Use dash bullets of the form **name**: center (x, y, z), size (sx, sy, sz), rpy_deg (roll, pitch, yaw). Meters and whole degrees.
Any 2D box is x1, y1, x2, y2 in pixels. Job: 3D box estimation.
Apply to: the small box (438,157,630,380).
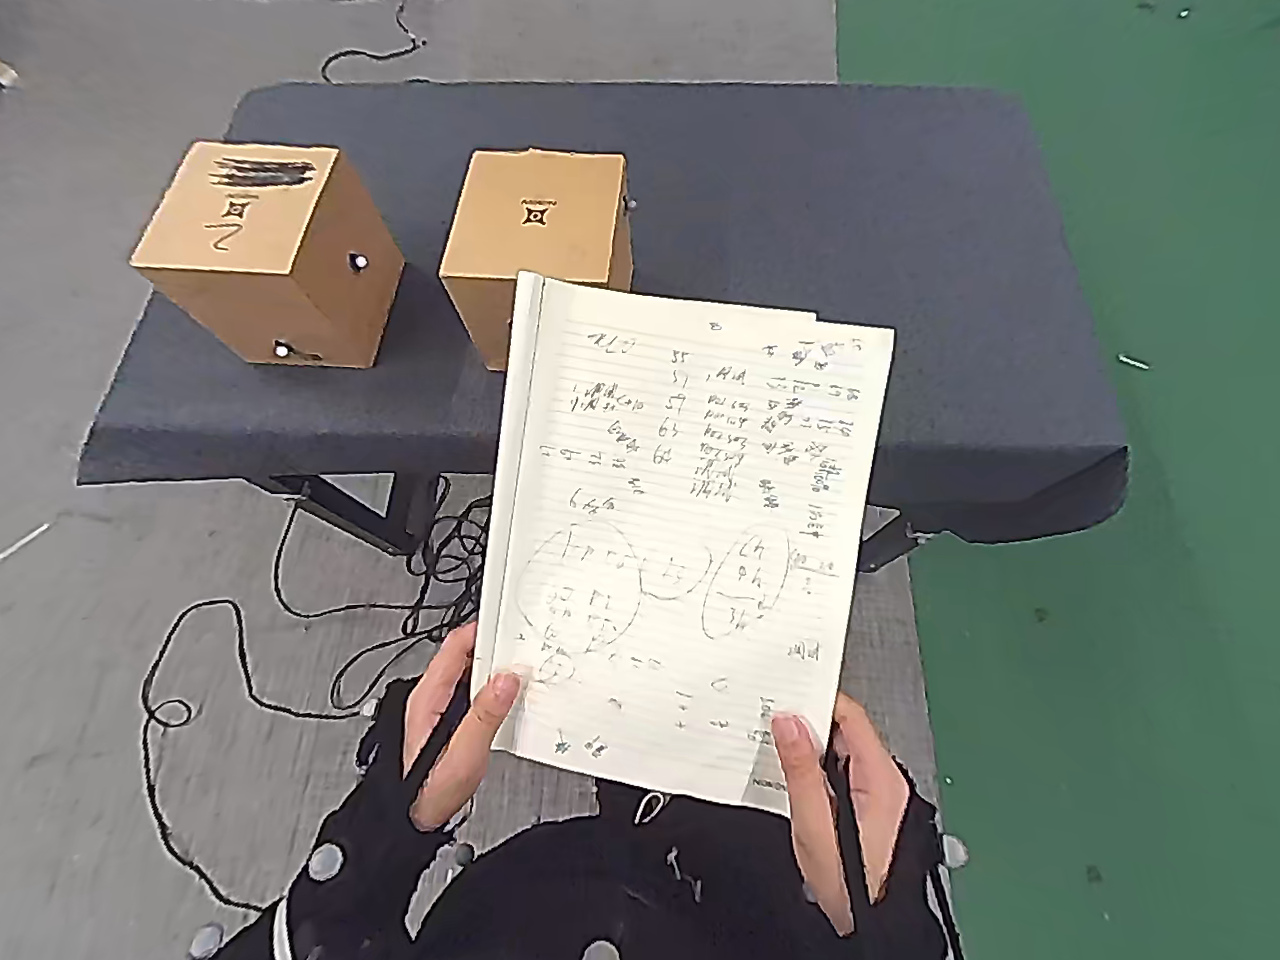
- **small box**: center (-0.102, -0.230, 0.613), size (0.168, 0.176, 0.179), rpy_deg (3, 67, 4)
